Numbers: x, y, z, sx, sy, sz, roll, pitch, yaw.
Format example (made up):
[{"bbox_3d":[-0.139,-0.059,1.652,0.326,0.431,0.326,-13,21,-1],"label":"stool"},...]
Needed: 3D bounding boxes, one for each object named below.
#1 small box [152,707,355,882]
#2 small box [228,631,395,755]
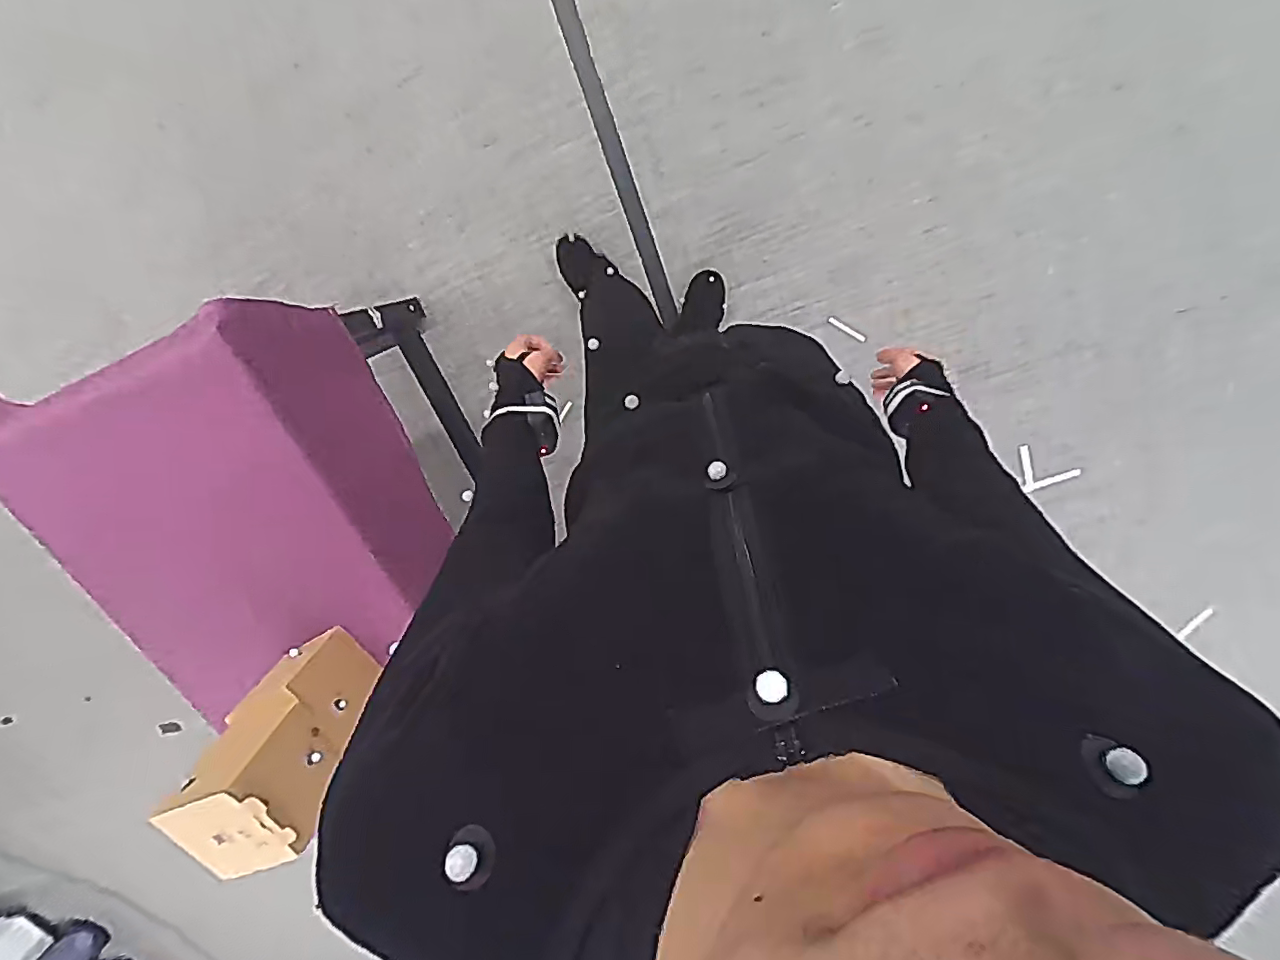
[{"bbox_3d":[-0.622,0.514,0.896,0.179,0.176,0.168,-24,111,13],"label":"small box"},{"bbox_3d":[-0.615,0.427,1.038,0.168,0.176,0.179,-29,108,15],"label":"small box"}]
